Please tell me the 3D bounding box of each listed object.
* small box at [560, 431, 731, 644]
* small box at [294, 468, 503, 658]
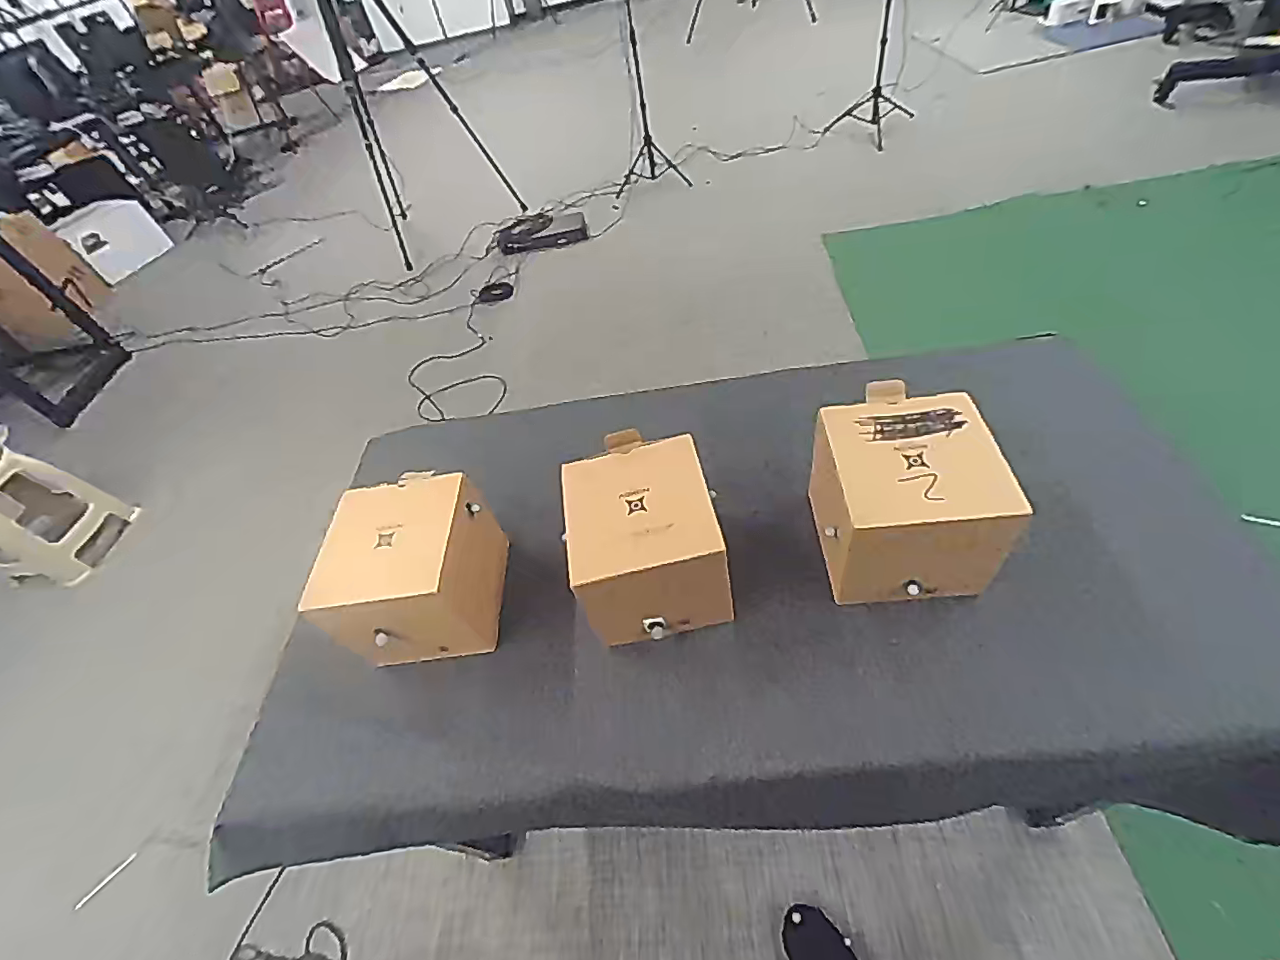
[{"bbox_3d":[0.008,0.073,0.660,0.168,0.176,0.179,-14,49,2],"label":"small box"},{"bbox_3d":[-0.287,0.113,0.692,0.168,0.176,0.179,-9,48,5],"label":"small box"}]
